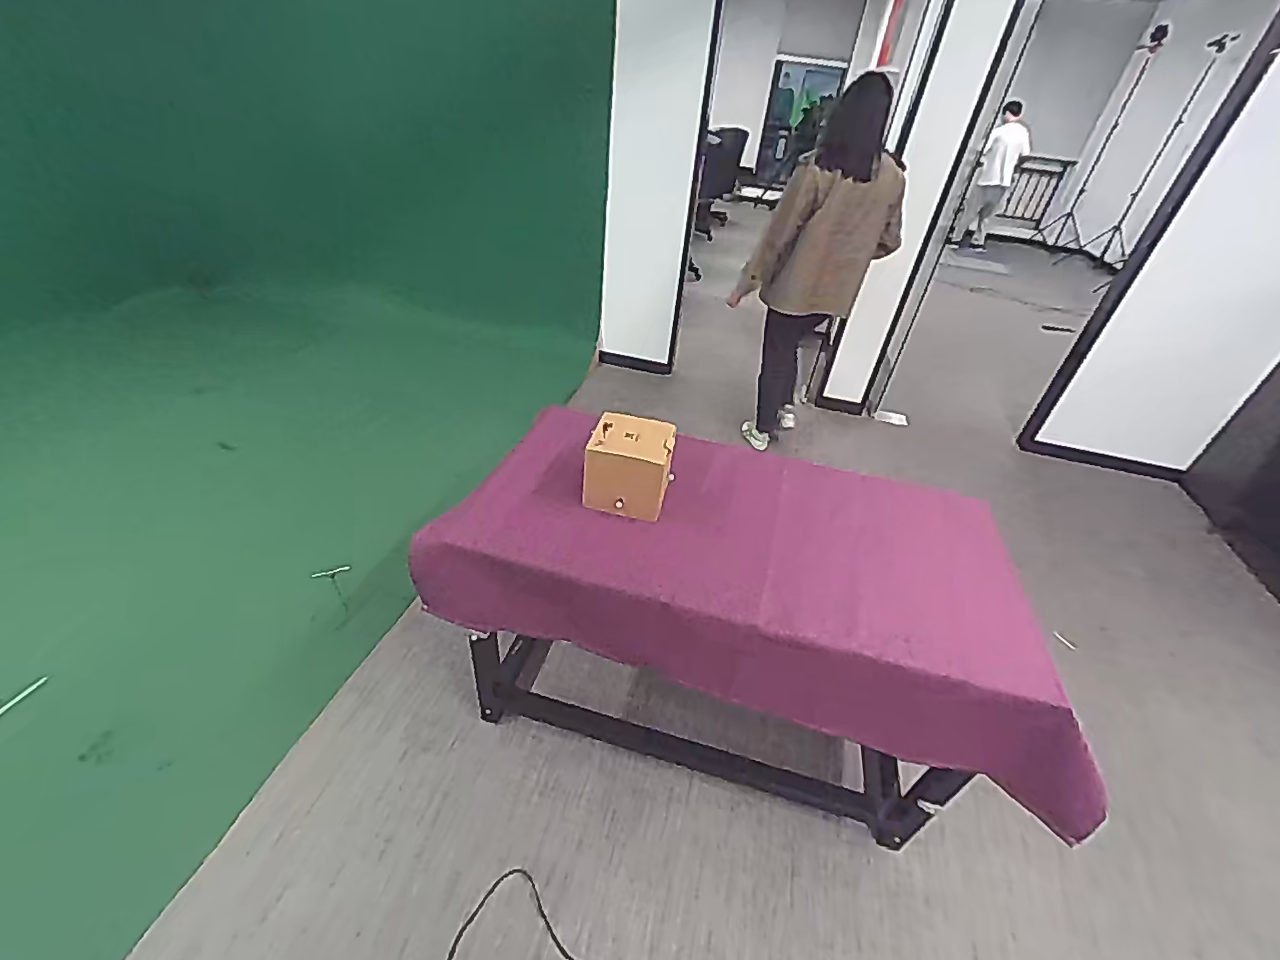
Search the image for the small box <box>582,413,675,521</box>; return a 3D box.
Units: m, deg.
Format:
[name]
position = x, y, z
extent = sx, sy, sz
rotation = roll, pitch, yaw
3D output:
[small box]
position = -0.027, -0.028, 1.247
extent = 0.179, 0.176, 0.168
rotation = 12, 38, 7
